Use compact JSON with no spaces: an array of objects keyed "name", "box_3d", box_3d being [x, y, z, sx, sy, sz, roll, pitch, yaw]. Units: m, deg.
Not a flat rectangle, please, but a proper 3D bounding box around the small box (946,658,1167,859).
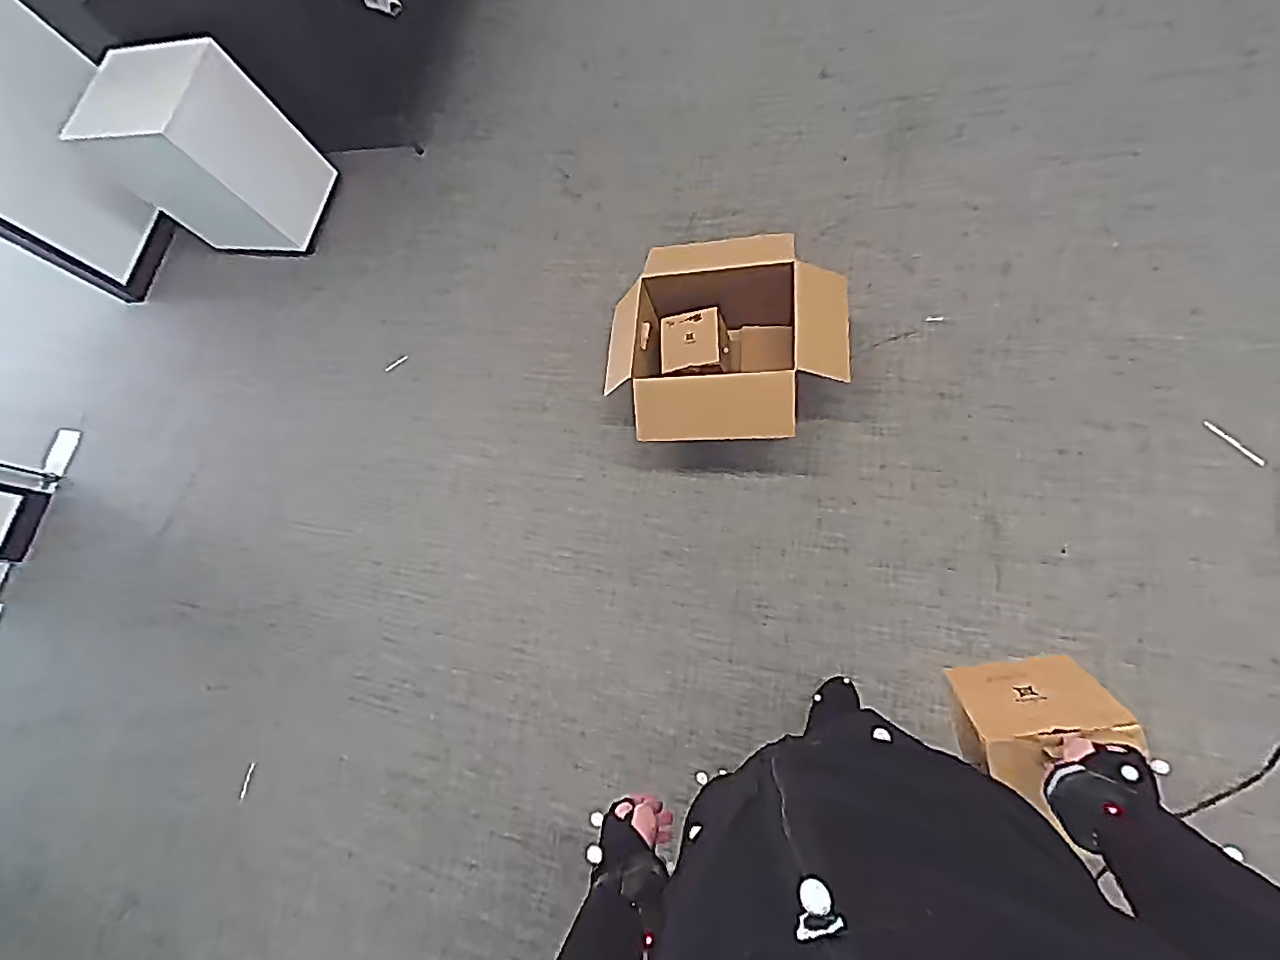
[{"name":"small box","box_3d":[0.528,0.359,0.706,0.168,0.179,0.176,-14,92,17]}]
